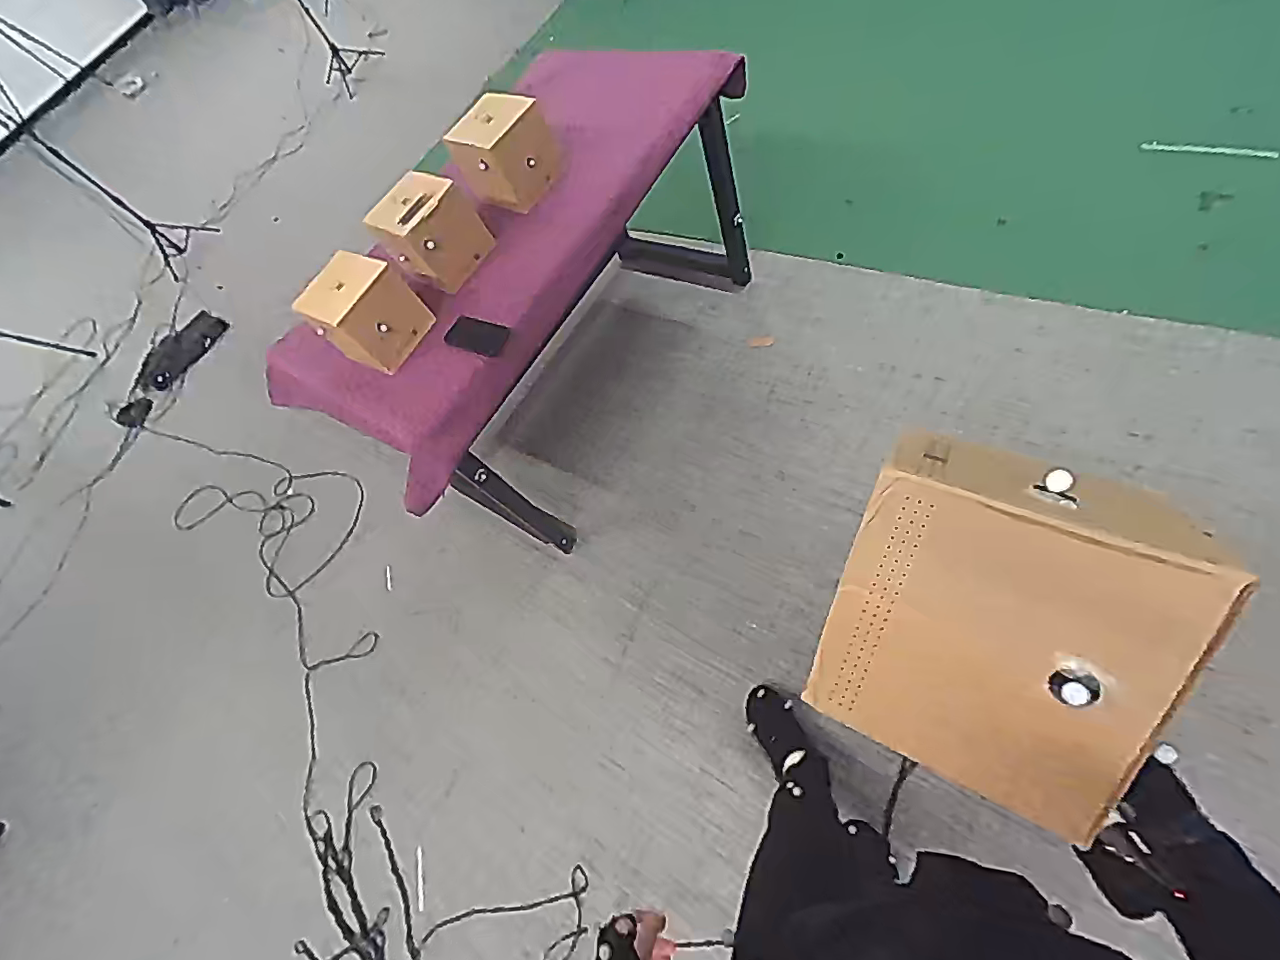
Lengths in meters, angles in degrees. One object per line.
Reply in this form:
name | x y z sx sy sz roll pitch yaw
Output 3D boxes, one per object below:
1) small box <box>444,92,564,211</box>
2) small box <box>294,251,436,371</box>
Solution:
small box | -0.311 -0.767 1.271 0.179 0.176 0.168 29 77 30
small box | -0.582 -0.359 1.164 0.179 0.176 0.168 22 74 29
